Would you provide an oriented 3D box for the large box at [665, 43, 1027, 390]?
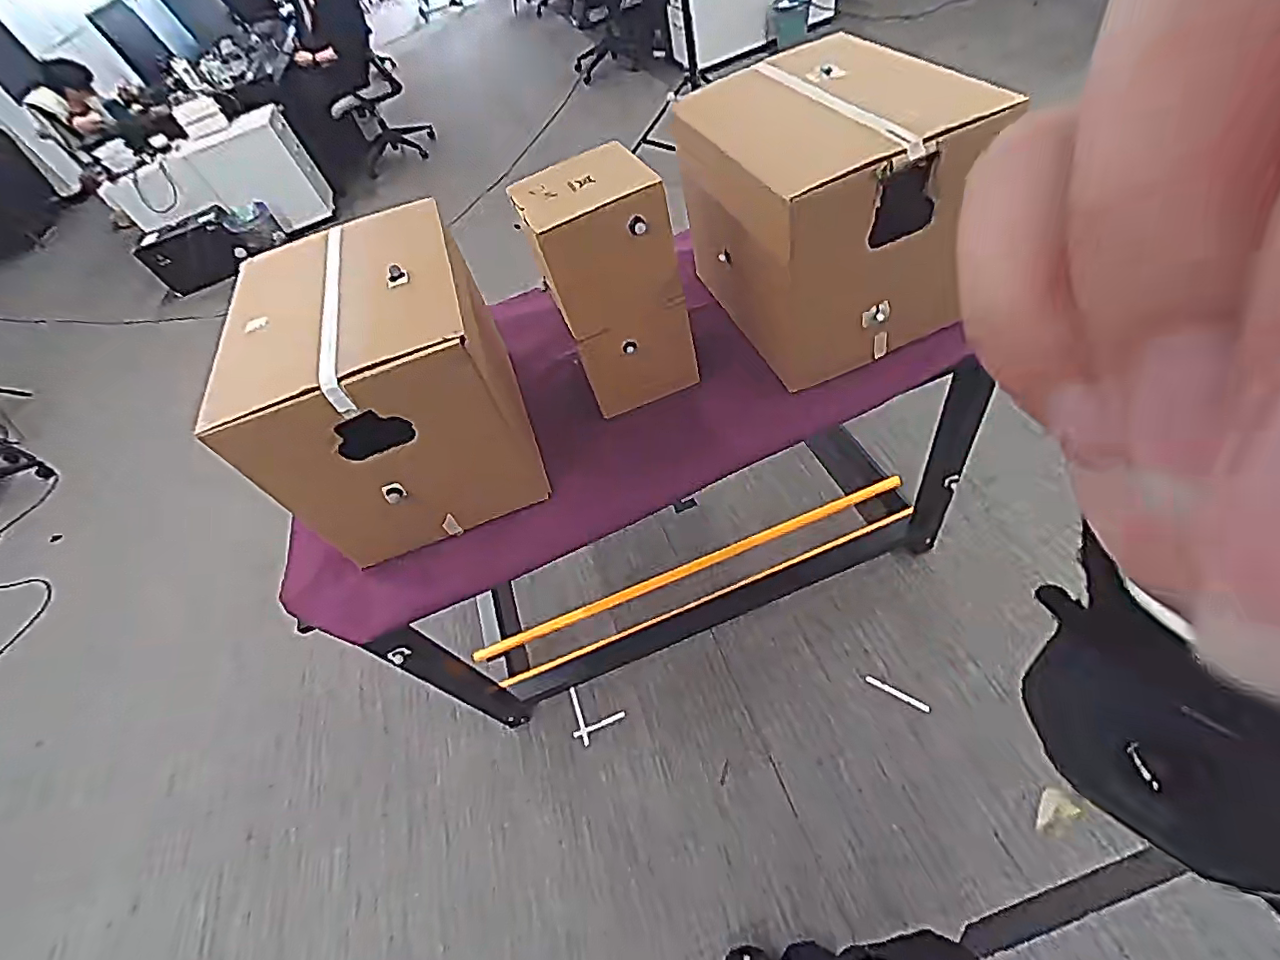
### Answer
[{"bbox_3d":[0.279,-0.417,0.851,0.320,0.320,0.408,-23,50,-2],"label":"large box"}]

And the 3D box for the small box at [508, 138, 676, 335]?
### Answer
[{"bbox_3d":[-0.060,-0.339,0.763,0.179,0.176,0.168,-25,51,-4],"label":"small box"}]
